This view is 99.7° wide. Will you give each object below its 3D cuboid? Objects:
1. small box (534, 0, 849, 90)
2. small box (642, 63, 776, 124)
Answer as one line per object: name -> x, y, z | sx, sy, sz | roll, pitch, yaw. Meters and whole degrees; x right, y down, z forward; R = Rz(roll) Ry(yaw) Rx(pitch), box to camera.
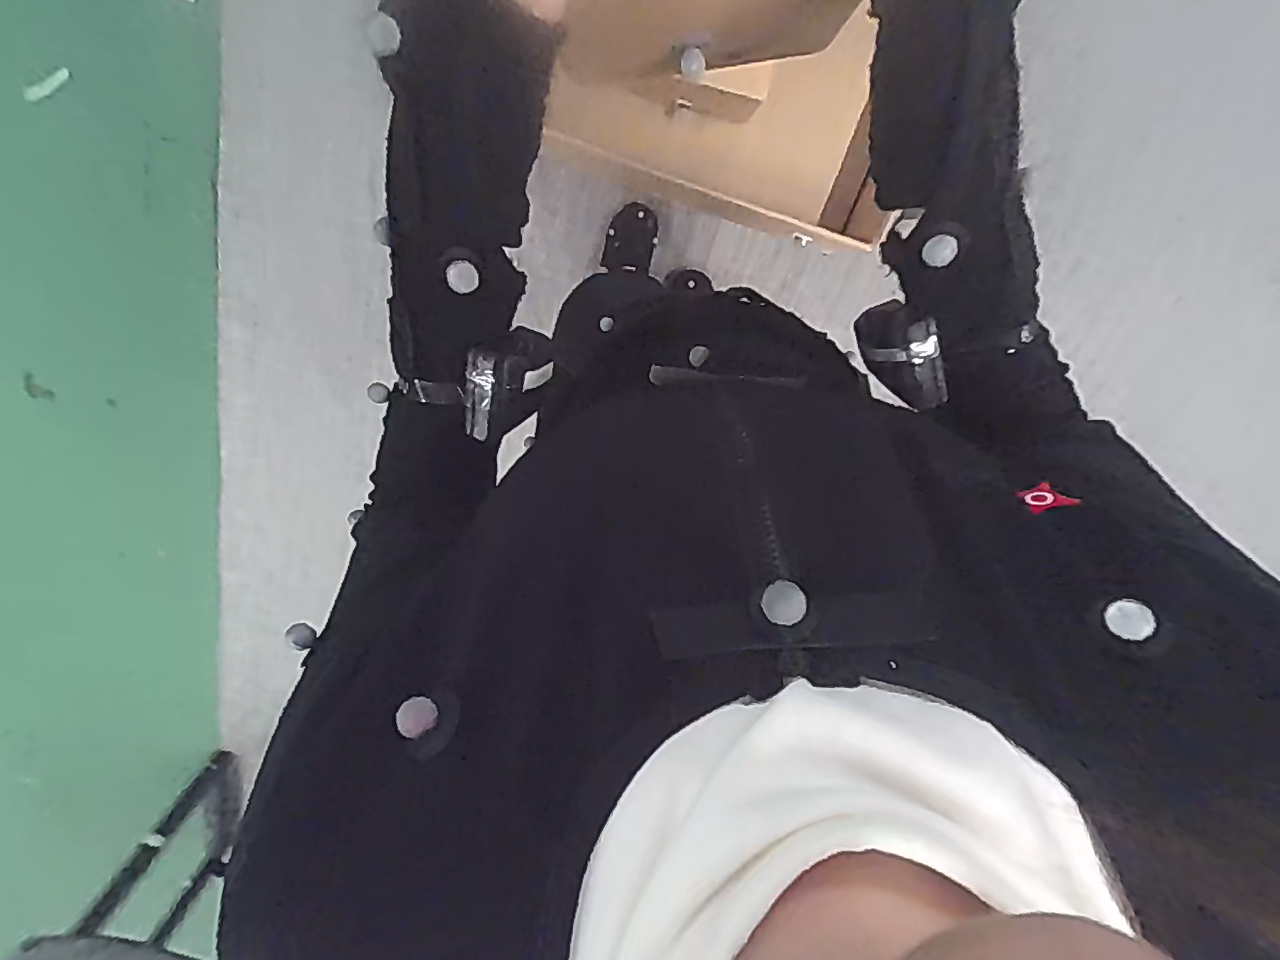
small box -> 0.018, -0.313, 0.244 | 0.168, 0.176, 0.179 | -6, 112, 6
small box -> 0.096, -0.591, 0.696 | 0.168, 0.176, 0.179 | 13, 114, -4
